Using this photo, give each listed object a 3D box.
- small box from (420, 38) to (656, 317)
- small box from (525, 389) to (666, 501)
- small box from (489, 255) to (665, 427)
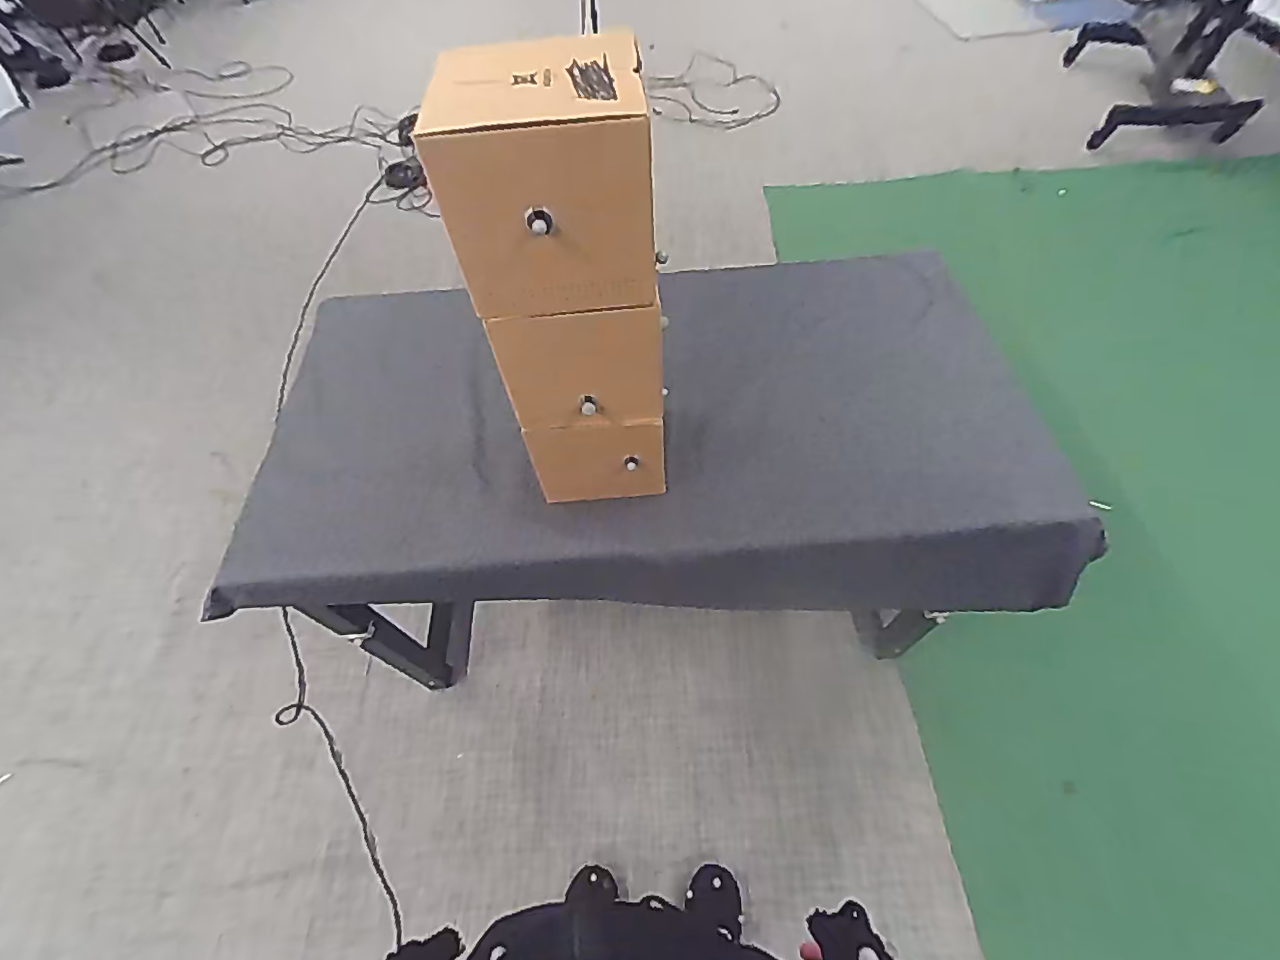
[{"bbox_3d":[-0.076,-0.275,0.506,0.179,0.176,0.168,-5,56,1],"label":"small box"},{"bbox_3d":[-0.056,-0.085,0.773,0.179,0.176,0.168,-6,55,1],"label":"small box"},{"bbox_3d":[-0.066,-0.180,0.641,0.179,0.176,0.168,-5,55,-1],"label":"small box"}]
